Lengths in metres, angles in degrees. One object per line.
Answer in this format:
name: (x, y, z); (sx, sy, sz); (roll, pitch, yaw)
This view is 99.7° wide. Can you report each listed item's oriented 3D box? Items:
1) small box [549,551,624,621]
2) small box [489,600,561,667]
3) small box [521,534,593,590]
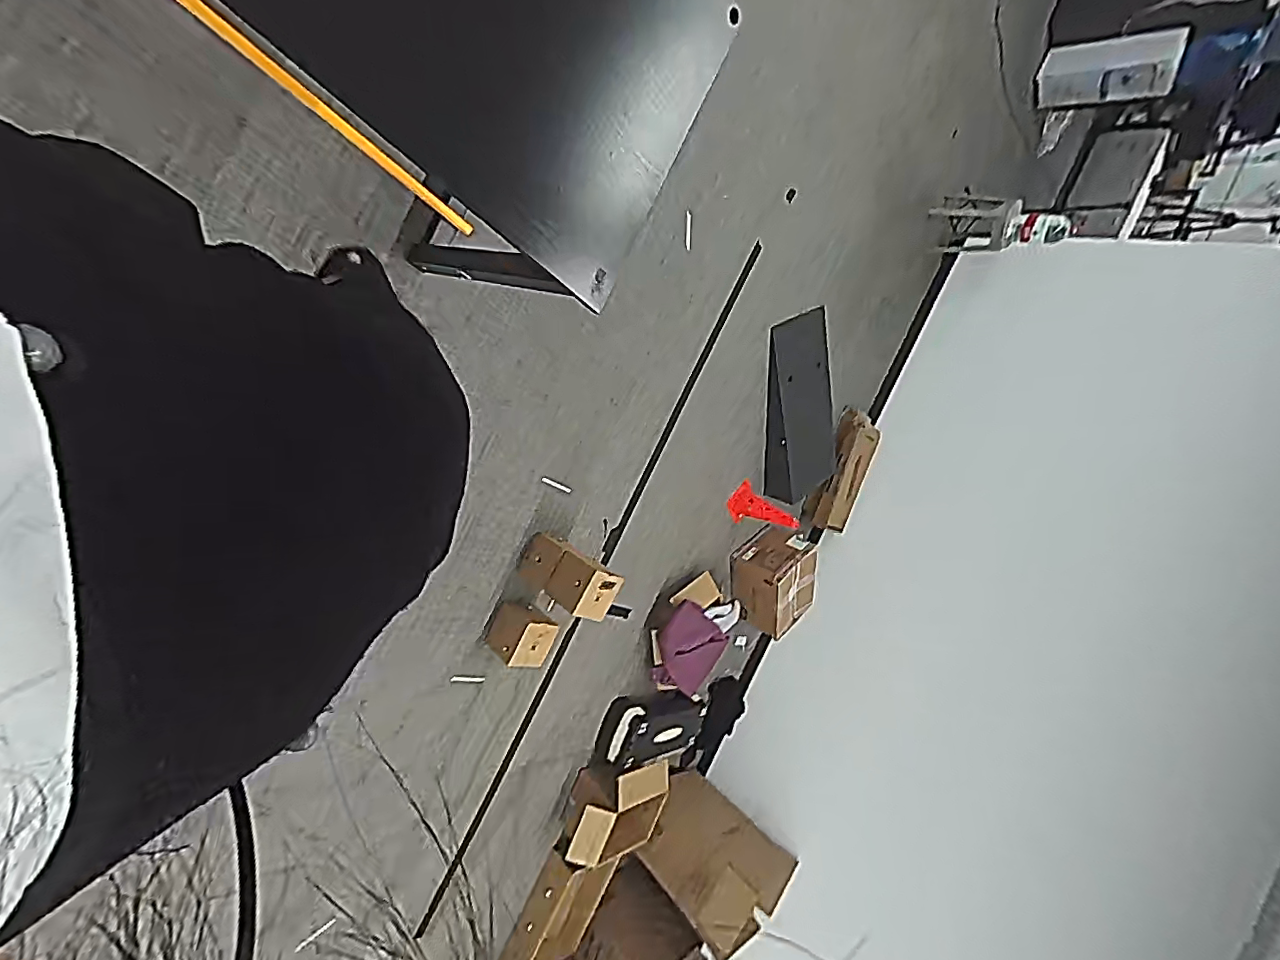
small box: (-0.195, 0.374, 1.921); (0.168, 0.176, 0.179); (31, 86, -50)
small box: (-0.436, 0.575, 2.022); (0.168, 0.176, 0.179); (26, 89, -50)
small box: (-0.313, 0.316, 2.022); (0.179, 0.176, 0.168); (31, 85, -49)
